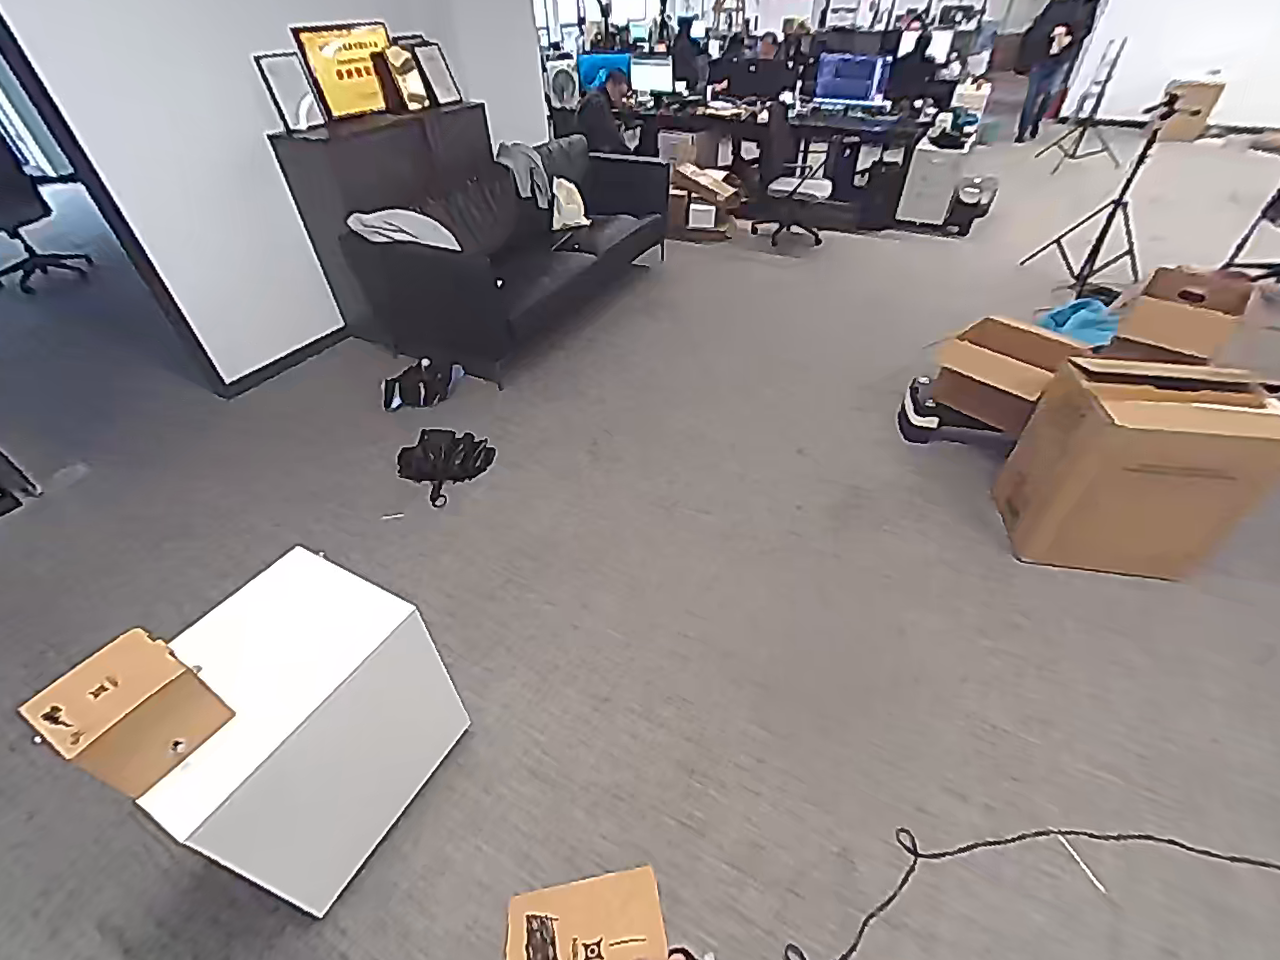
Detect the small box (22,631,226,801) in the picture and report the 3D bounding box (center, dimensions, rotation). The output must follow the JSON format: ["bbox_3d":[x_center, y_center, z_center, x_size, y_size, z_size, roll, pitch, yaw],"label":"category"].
[{"bbox_3d":[-0.863,0.403,0.929,0.168,0.176,0.179,19,44,22],"label":"small box"}]

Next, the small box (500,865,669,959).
[{"bbox_3d":[-0.050,0.568,0.578,0.179,0.176,0.168,-8,11,-6],"label":"small box"}]
